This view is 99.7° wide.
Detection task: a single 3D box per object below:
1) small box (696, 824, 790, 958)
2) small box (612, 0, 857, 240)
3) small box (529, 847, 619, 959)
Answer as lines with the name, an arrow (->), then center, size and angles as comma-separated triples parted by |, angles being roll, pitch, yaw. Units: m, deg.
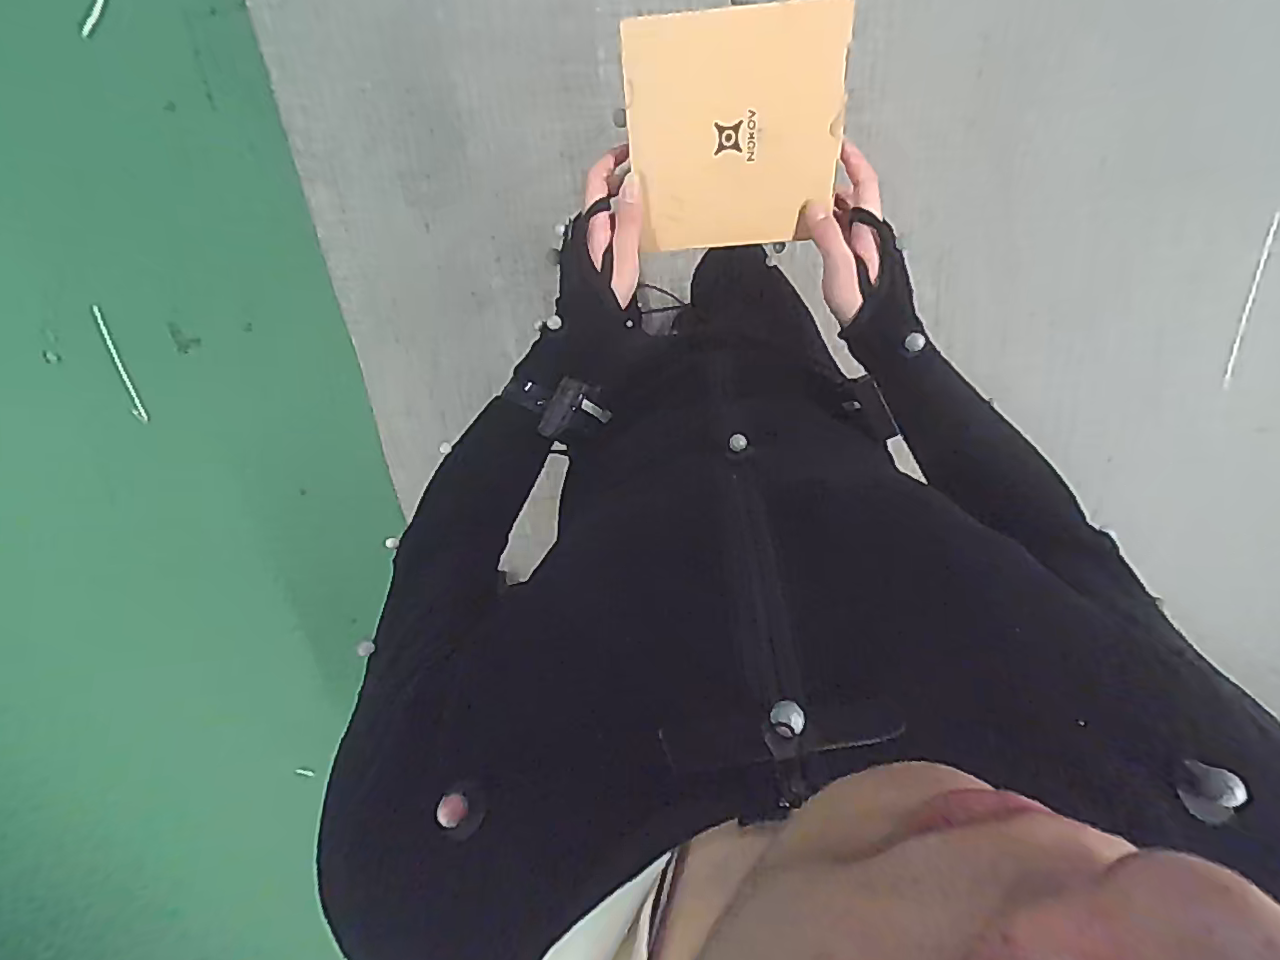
small box -> 0.219, 0.891, 1.181 | 0.179, 0.176, 0.168 | -8, 113, 2
small box -> 0.075, -0.324, 0.491 | 0.179, 0.176, 0.168 | -4, 123, 4
small box -> -0.138, 0.934, 1.189 | 0.168, 0.176, 0.179 | -6, 115, 1
